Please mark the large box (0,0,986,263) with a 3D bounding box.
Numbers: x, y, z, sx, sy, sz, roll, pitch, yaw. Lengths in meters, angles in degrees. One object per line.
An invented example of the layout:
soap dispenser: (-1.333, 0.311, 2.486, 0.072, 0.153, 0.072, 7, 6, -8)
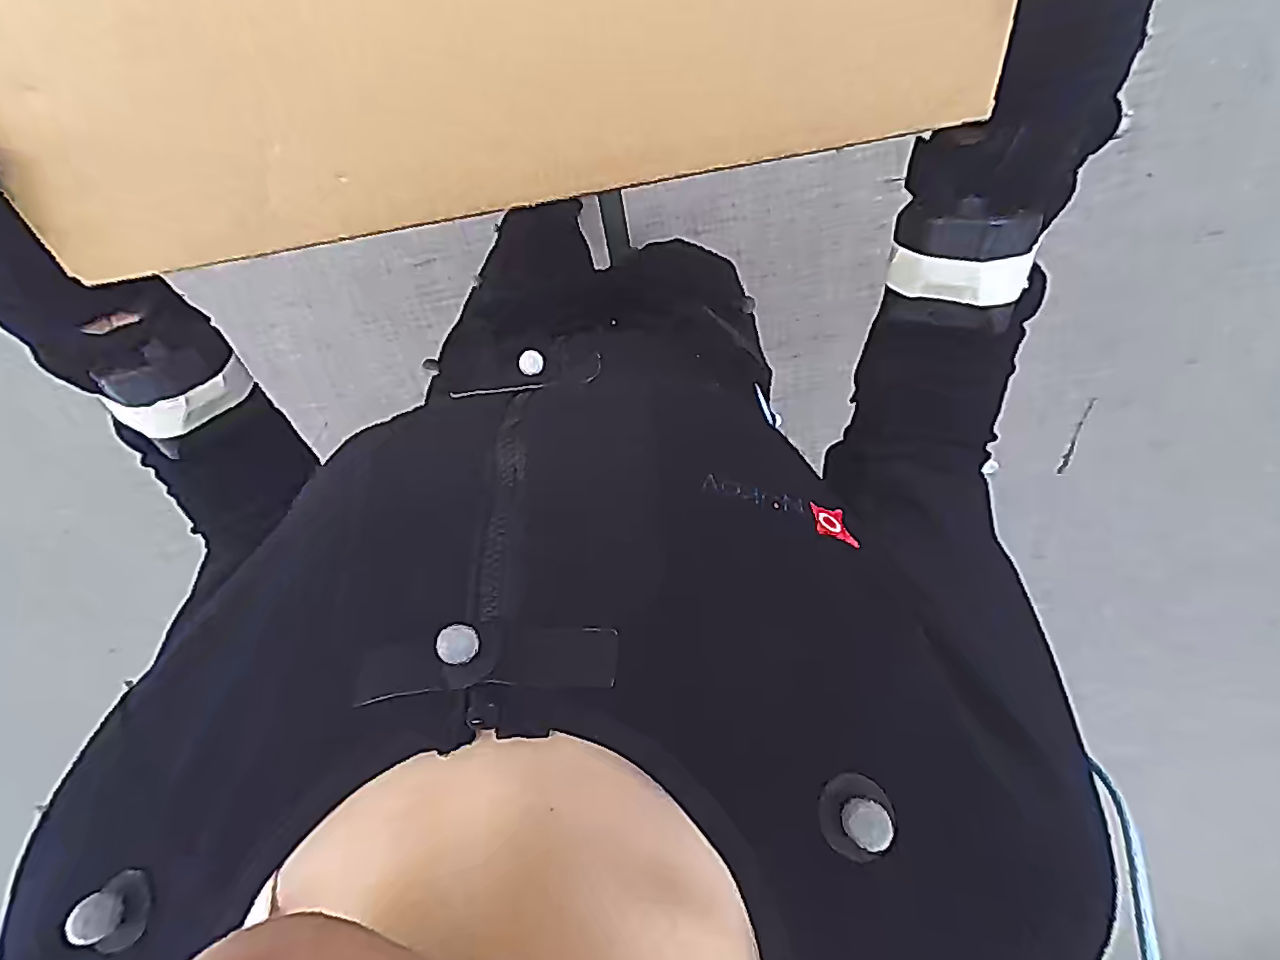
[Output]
large box: (-0.088, -0.343, 0.266, 0.408, 0.320, 0.320, -8, 129, 5)
